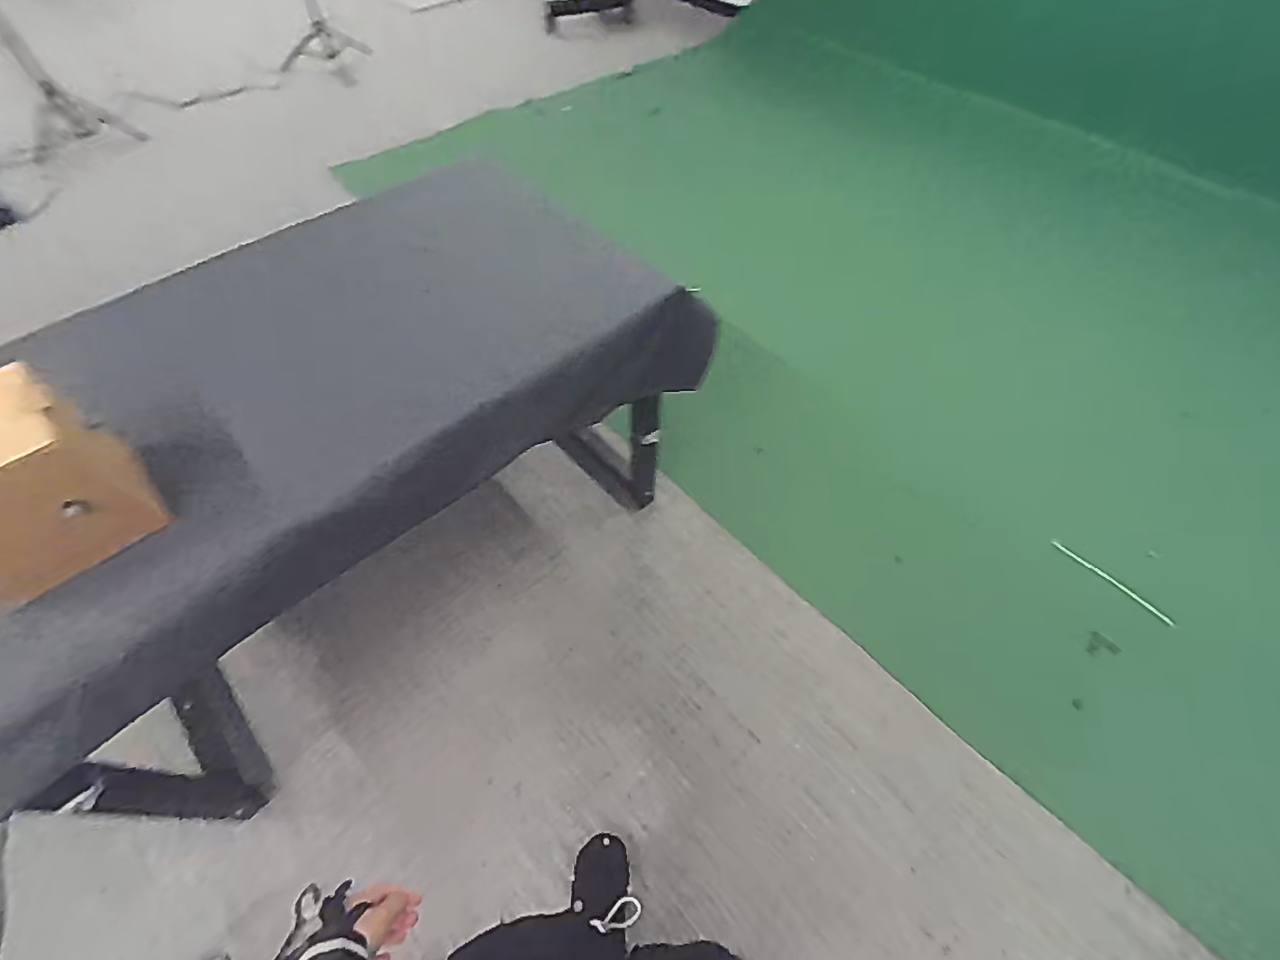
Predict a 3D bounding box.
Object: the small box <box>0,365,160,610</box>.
[{"bbox_3d":[-0.698,0.010,0.609,0.179,0.176,0.168,-39,63,-23],"label":"small box"}]
